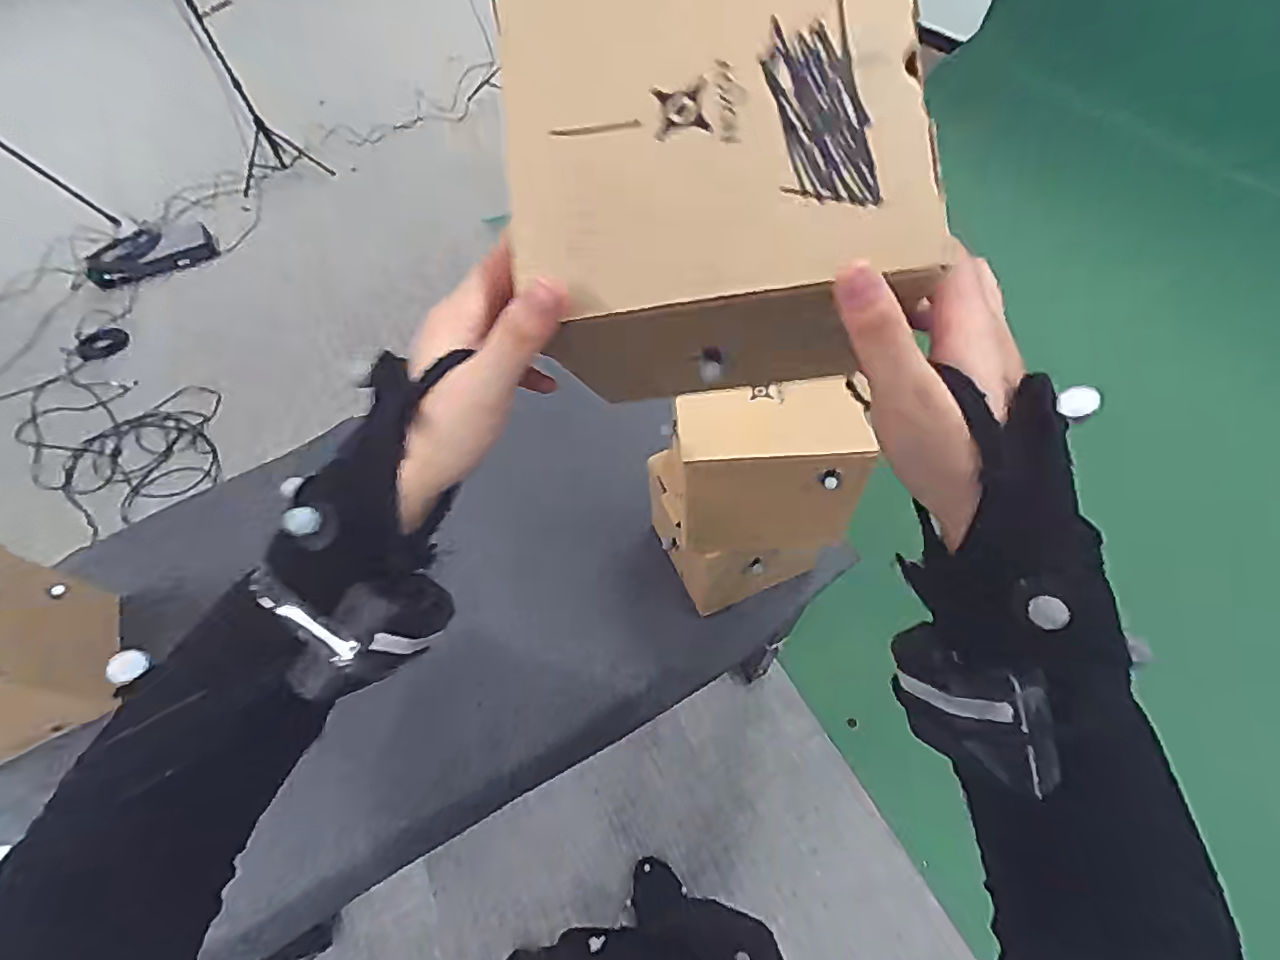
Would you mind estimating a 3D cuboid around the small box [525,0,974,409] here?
[{"bbox_3d":[0.051,-0.141,0.303,0.179,0.176,0.168,-5,85,10],"label":"small box"}]

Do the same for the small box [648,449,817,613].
[{"bbox_3d":[0.126,0.051,0.718,0.179,0.176,0.168,-22,56,-10],"label":"small box"}]

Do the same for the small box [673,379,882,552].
[{"bbox_3d":[0.126,-0.033,0.576,0.179,0.176,0.168,-3,54,2],"label":"small box"}]
